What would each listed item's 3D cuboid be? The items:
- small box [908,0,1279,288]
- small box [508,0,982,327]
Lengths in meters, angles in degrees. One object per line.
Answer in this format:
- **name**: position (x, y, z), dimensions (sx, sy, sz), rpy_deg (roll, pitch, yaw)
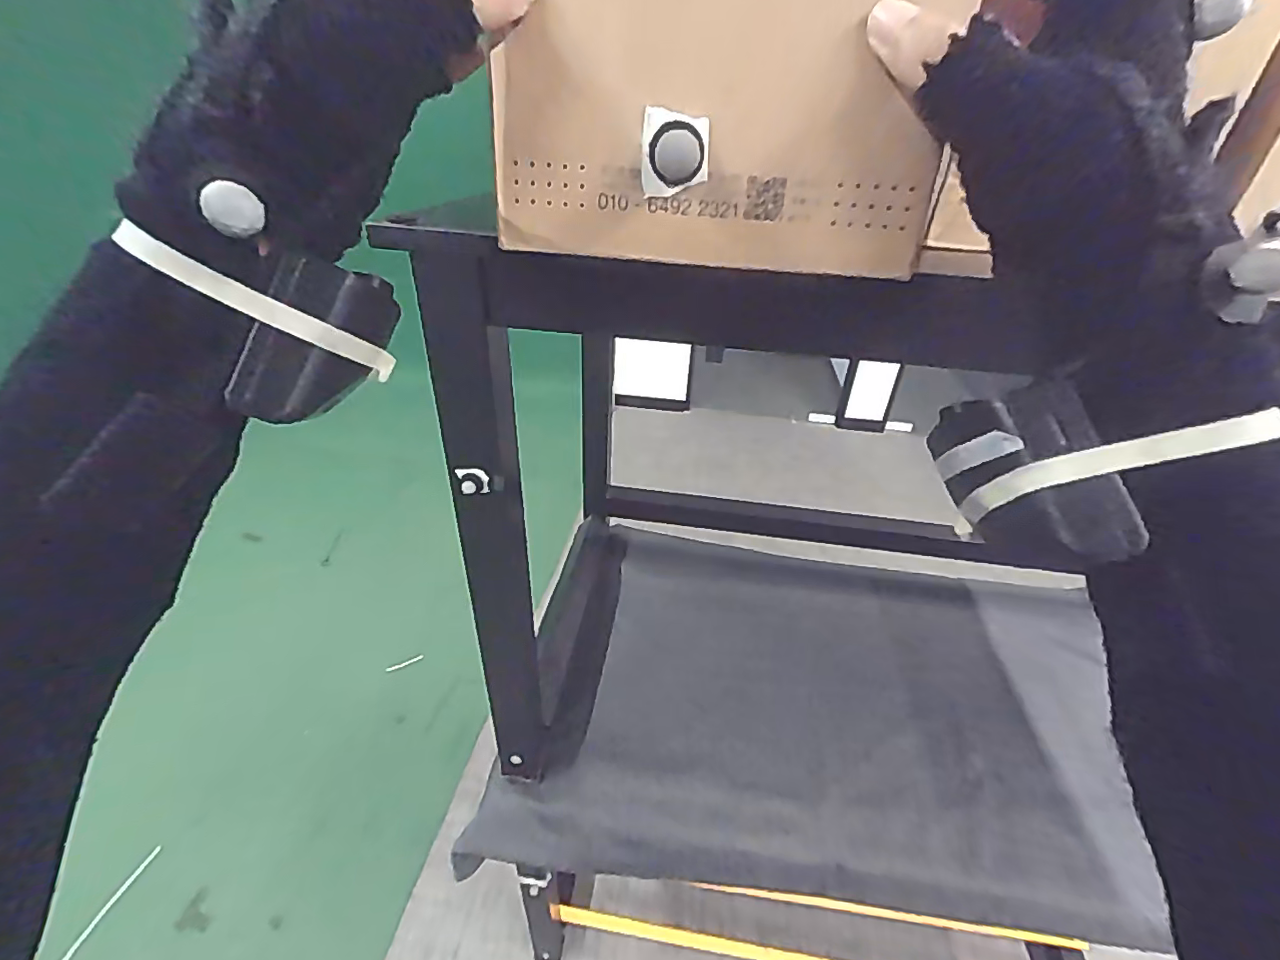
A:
- **small box**: position (0.301, -0.264, 0.429), dimensions (0.168, 0.176, 0.179), rpy_deg (6, 34, 4)
- **small box**: position (0.037, -0.181, 0.263), dimensions (0.168, 0.176, 0.179), rpy_deg (4, 27, 3)
